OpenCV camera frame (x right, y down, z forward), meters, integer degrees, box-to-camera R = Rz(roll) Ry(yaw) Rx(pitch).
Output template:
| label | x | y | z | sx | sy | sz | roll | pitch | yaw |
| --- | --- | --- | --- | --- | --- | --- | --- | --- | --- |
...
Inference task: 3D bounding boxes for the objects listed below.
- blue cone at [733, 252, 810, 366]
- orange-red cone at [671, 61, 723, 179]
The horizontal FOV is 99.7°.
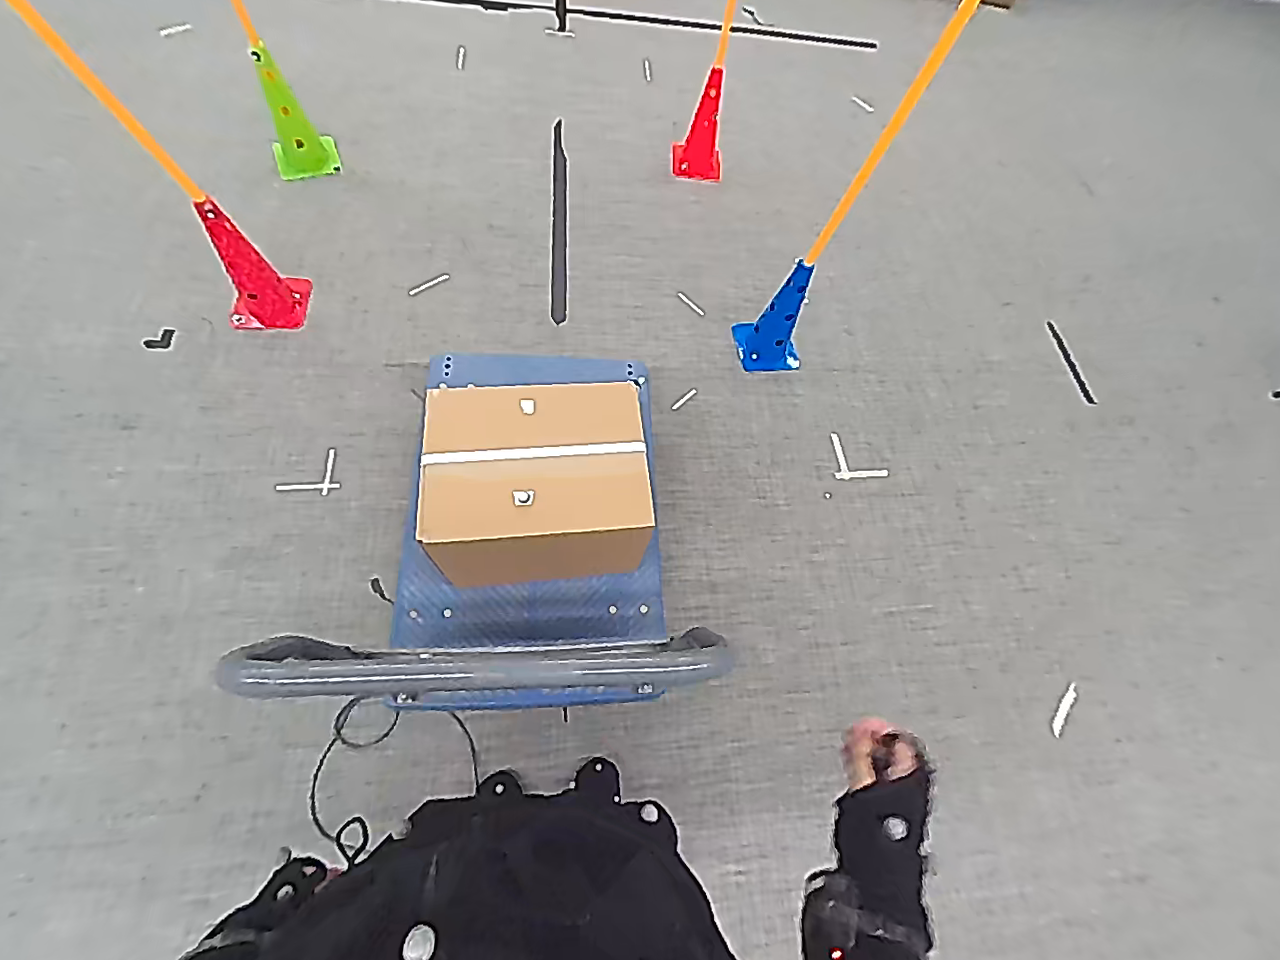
| label | x | y | z | sx | sy | sz | roll | pitch | yaw |
| --- | --- | --- | --- | --- | --- | --- | --- | --- | --- |
| blue cone | 0.436 | -0.531 | 1.661 | 0.193 | 0.380 | 0.192 | -4 | 64 | -10 |
| orange-red cone | 0.246 | -1.352 | 2.007 | 0.199 | 0.360 | 0.198 | 6 | 65 | -6 |
